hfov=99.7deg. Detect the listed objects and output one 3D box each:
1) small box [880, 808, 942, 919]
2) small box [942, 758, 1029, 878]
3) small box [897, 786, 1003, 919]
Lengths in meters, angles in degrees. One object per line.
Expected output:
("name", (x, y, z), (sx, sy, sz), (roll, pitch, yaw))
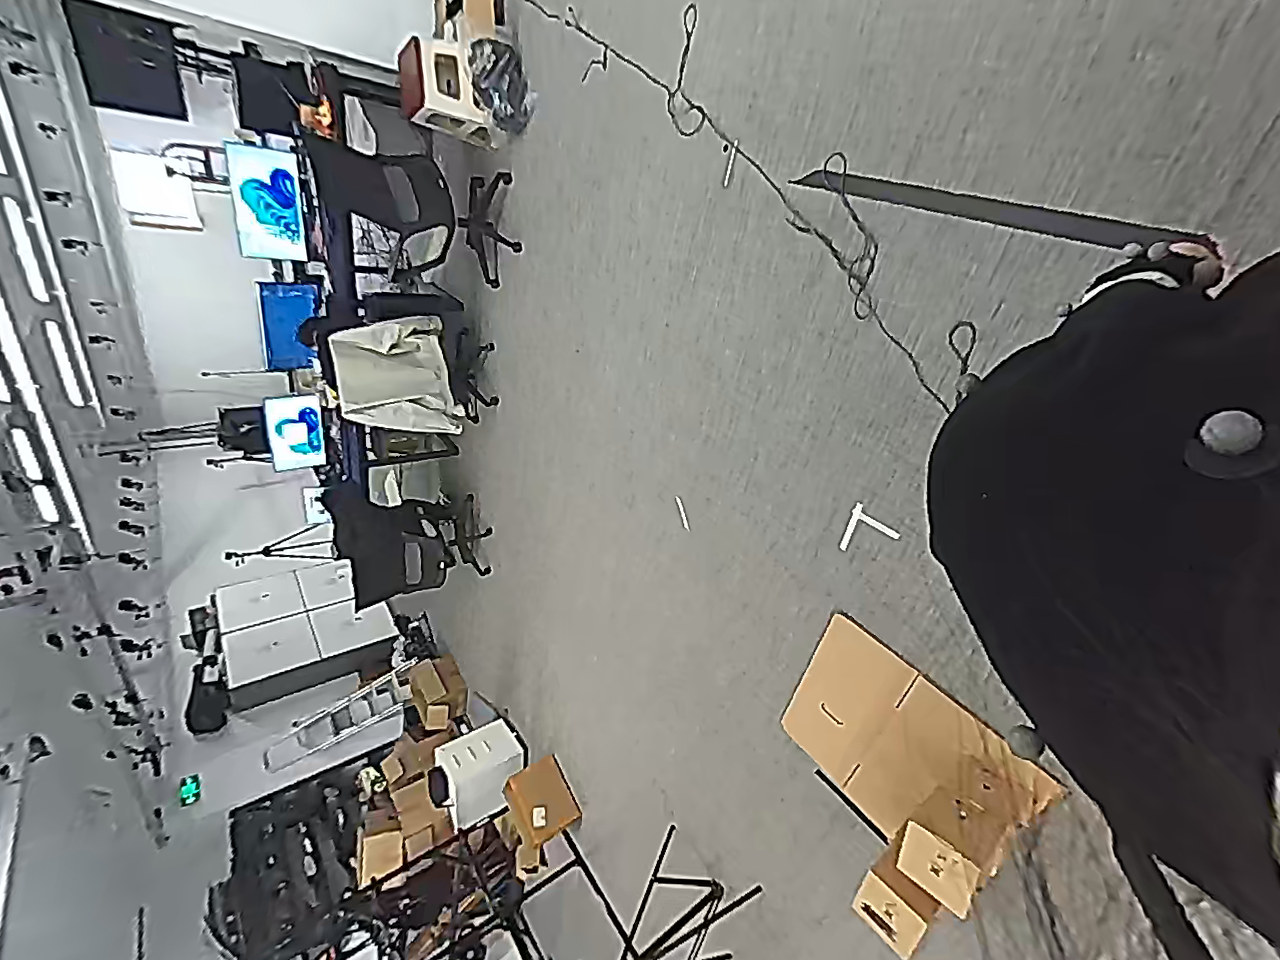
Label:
("small box", (0.845, 1.120, 1.596), (0.168, 0.176, 0.179), (29, 121, 44))
("small box", (0.908, 0.891, 1.445), (0.168, 0.176, 0.179), (23, 117, 47))
("small box", (0.775, 0.922, 1.353), (0.168, 0.176, 0.179), (23, 118, 45))
